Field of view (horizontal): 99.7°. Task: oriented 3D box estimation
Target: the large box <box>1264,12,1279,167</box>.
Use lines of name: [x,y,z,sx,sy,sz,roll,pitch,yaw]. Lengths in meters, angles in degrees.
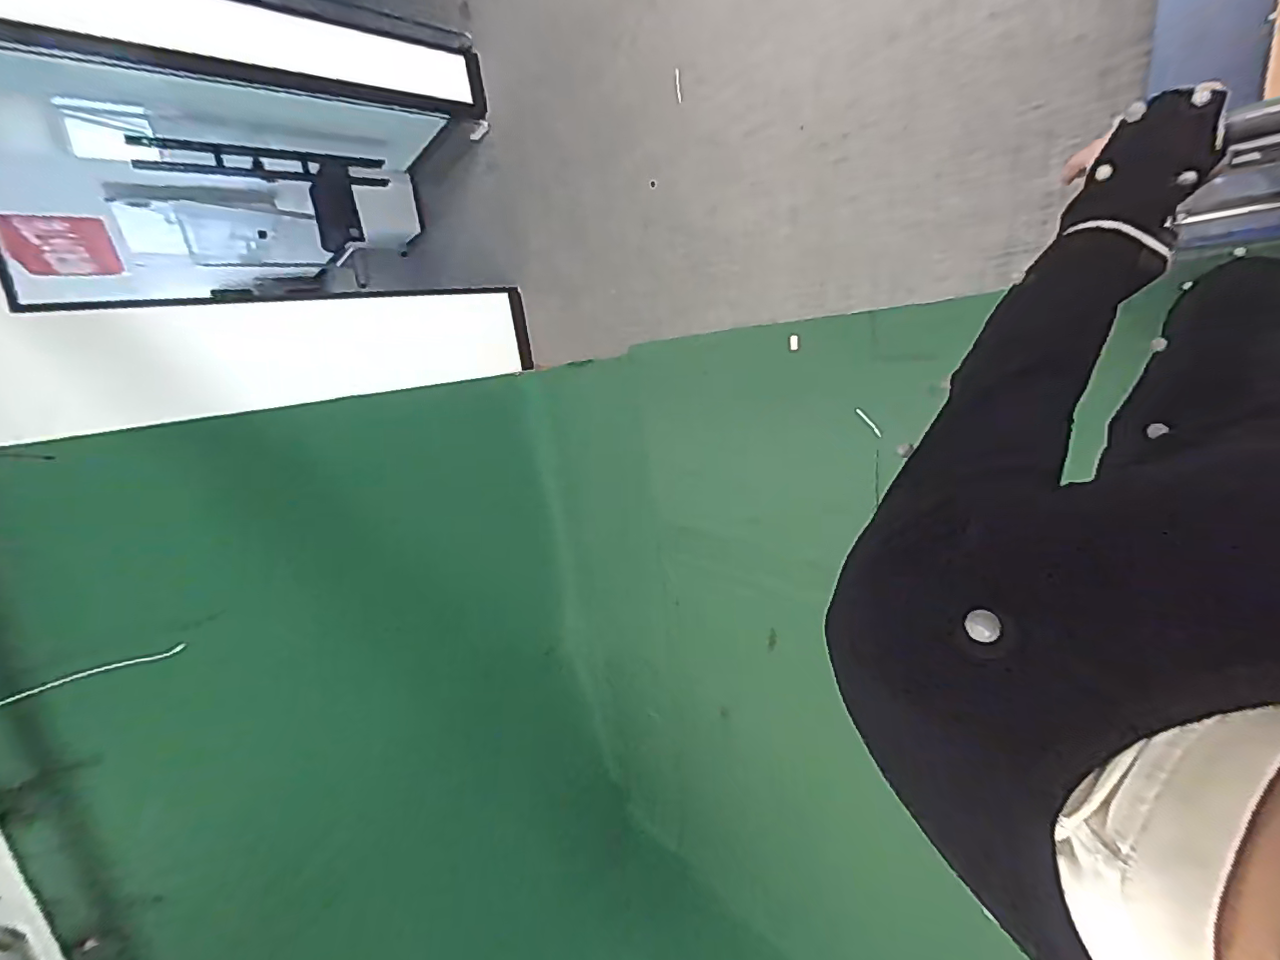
large box: [1.001,-0.632,0.632,0.320,0.320,0.408,10,110,49]
